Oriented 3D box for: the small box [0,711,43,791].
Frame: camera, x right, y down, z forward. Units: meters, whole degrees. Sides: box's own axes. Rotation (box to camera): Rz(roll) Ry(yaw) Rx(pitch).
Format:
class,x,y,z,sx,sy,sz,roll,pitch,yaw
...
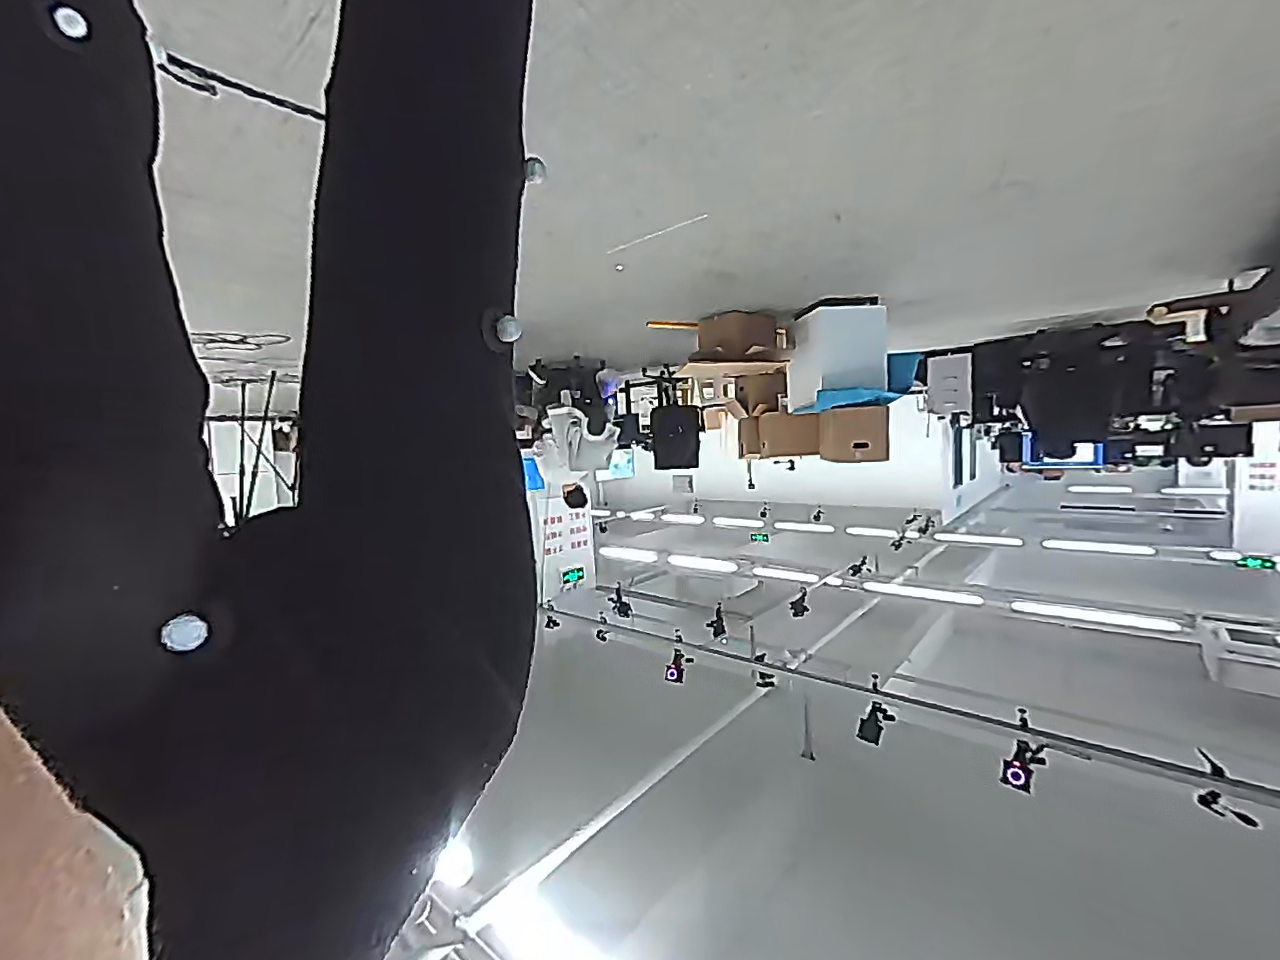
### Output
class,x,y,z,sx,sy,sz,roll,pitch,yaw
small box,-1.880,0.796,1.570,0.179,0.176,0.168,-7,-173,-44
